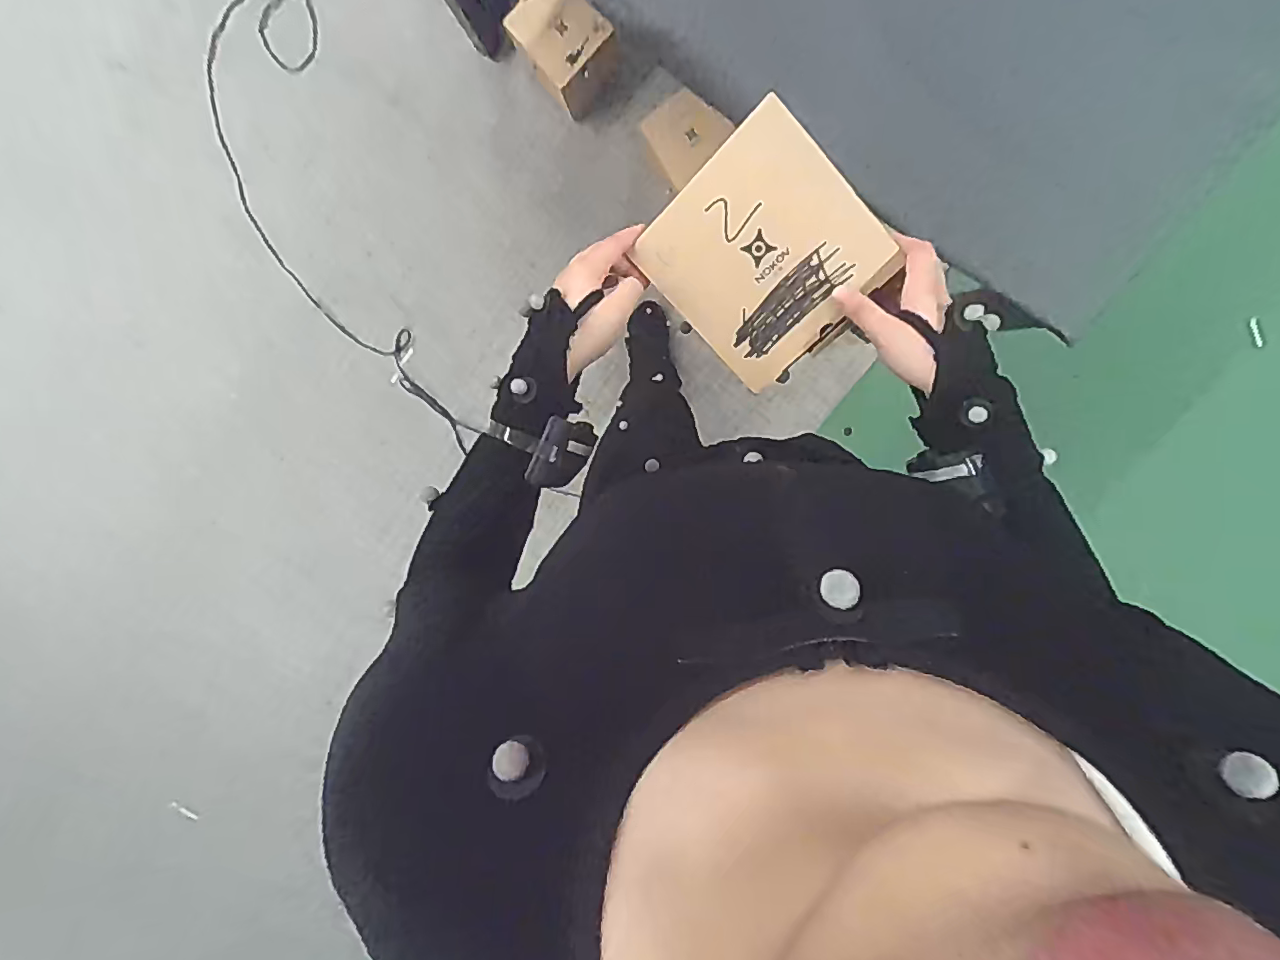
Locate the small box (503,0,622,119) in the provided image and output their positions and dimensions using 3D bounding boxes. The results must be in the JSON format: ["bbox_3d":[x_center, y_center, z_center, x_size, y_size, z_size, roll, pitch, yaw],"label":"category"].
[{"bbox_3d":[-0.160,-0.944,1.179,0.168,0.176,0.179,-41,96,12],"label":"small box"}]

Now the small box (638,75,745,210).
[{"bbox_3d":[0.115,-0.733,1.207,0.168,0.176,0.179,-33,97,10],"label":"small box"}]

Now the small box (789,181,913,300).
[{"bbox_3d":[0.466,-0.529,1.228,0.179,0.176,0.168,40,103,-6],"label":"small box"}]
